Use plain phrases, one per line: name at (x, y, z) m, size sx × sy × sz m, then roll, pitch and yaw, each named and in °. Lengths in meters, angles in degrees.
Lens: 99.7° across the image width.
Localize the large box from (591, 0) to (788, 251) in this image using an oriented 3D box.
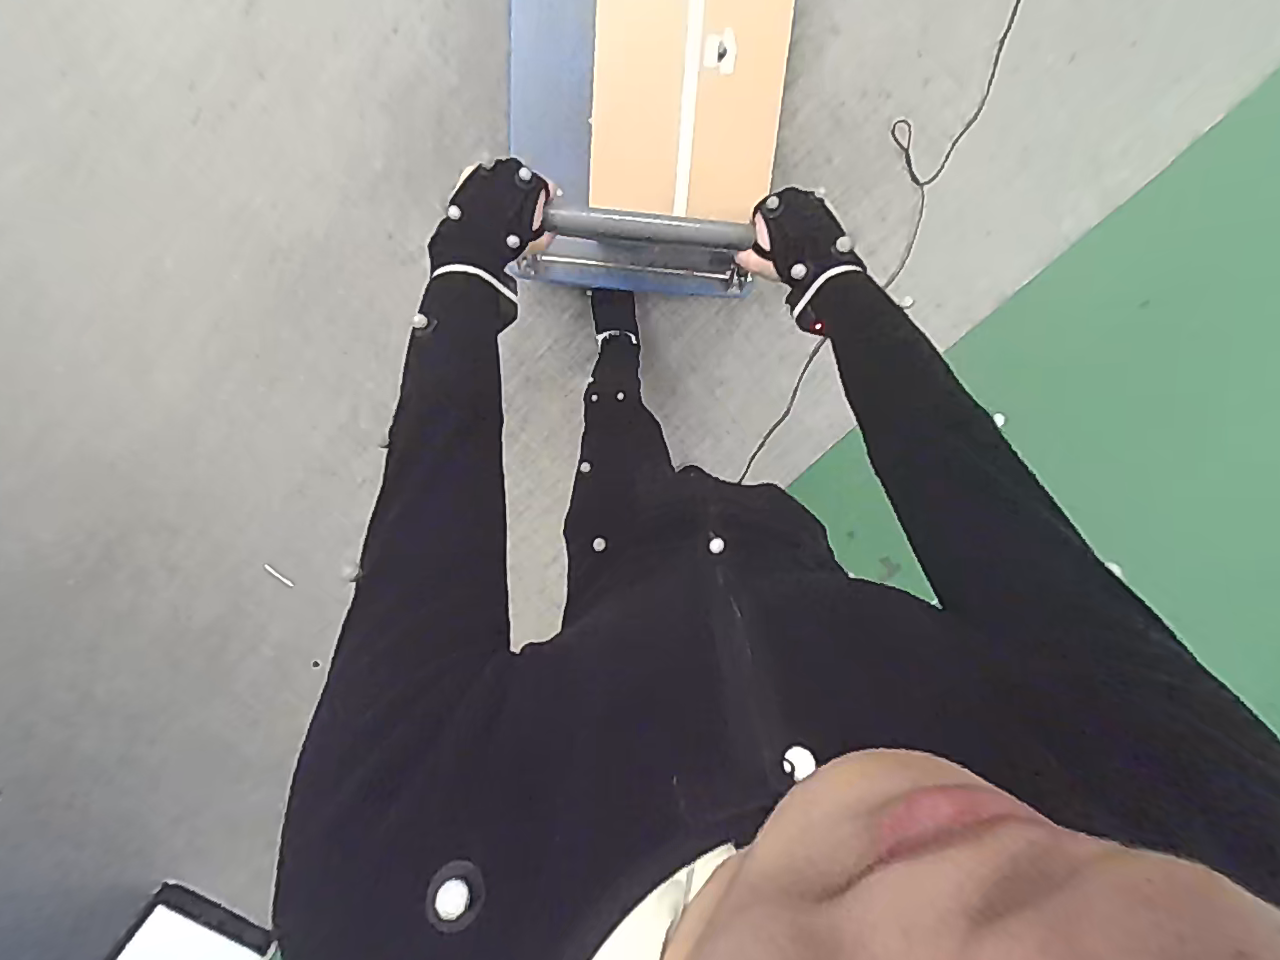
large box at (0.074, -0.682, 1.053) m, size 0.320 × 0.320 × 0.408 m, roll 3°, pitch 108°, yaw -3°
